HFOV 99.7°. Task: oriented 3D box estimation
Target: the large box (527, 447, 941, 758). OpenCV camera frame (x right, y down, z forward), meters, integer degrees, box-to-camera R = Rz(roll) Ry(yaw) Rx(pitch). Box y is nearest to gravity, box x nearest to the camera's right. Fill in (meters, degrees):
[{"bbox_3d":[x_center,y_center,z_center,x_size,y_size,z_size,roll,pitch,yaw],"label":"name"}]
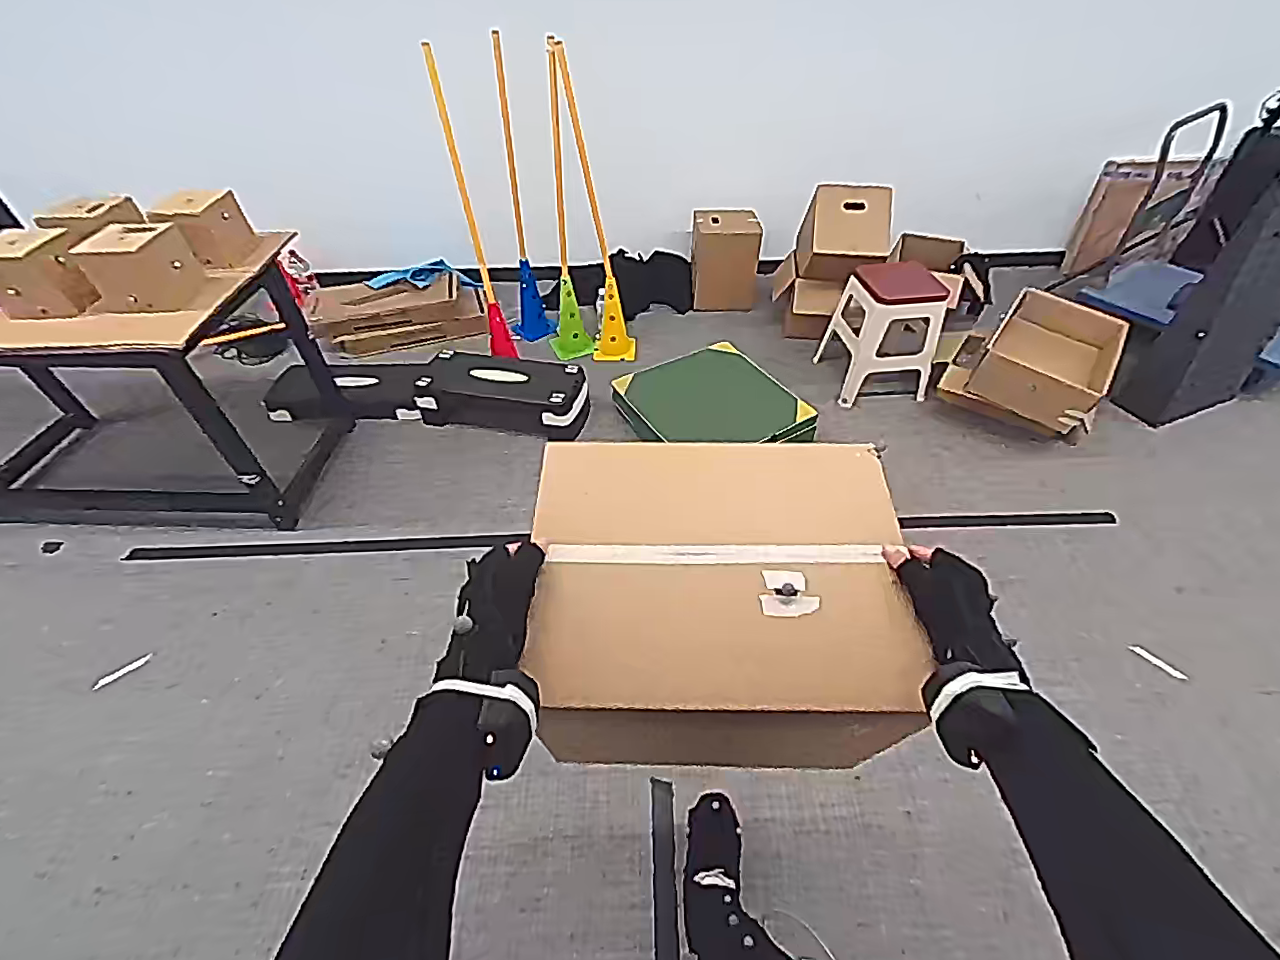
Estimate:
[{"bbox_3d":[0.089,0.171,0.718,0.408,0.320,0.320,0,55,1],"label":"large box"}]
